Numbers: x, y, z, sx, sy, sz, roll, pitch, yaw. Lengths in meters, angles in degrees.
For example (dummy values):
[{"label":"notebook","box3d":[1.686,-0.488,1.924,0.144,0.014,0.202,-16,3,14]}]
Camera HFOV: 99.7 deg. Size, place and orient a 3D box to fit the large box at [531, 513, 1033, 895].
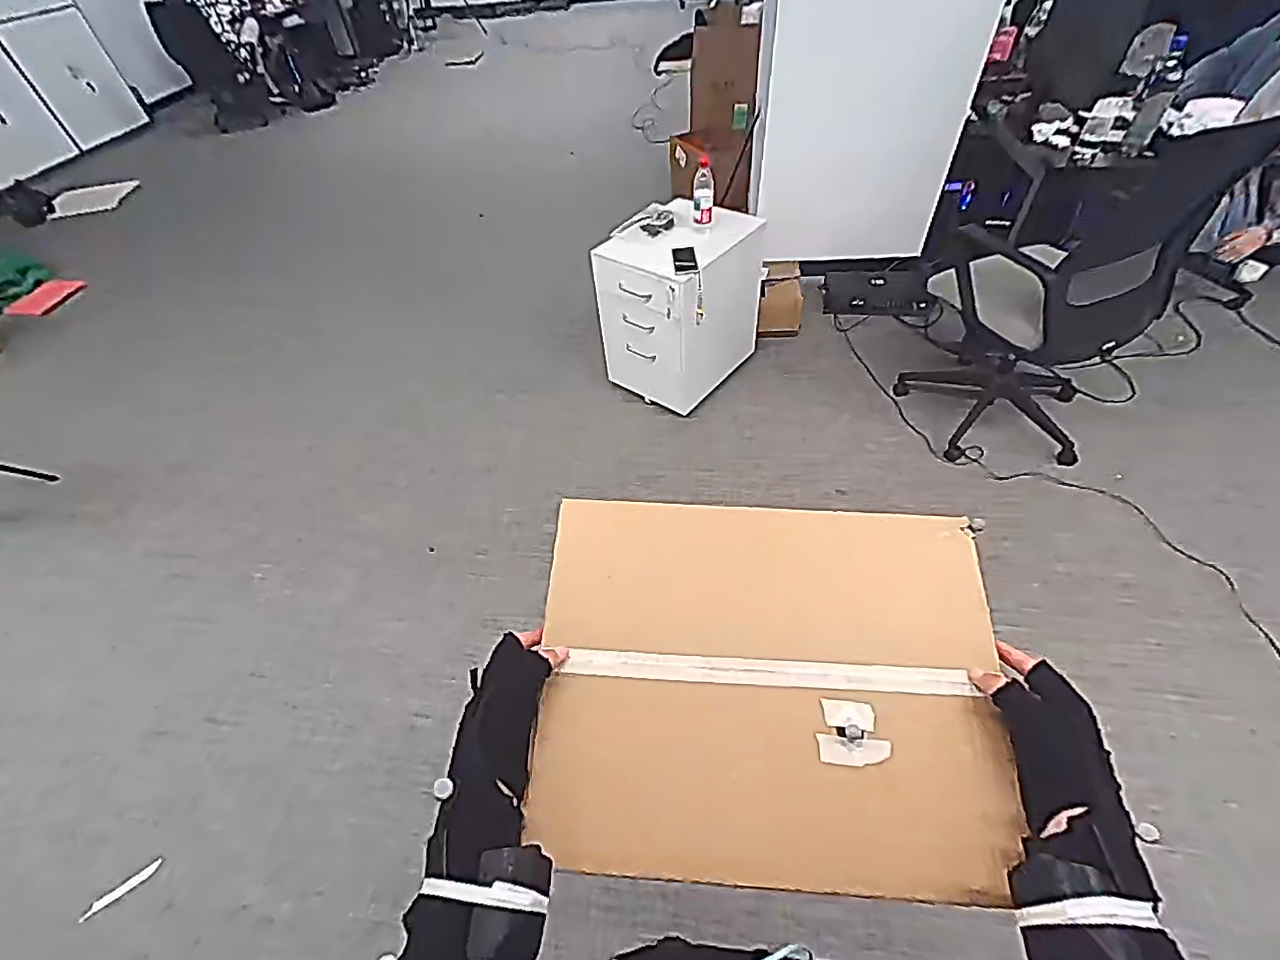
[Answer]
[{"label":"large box","box3d":[0.116,0.243,0.623,0.408,0.320,0.320,2,65,2]}]
